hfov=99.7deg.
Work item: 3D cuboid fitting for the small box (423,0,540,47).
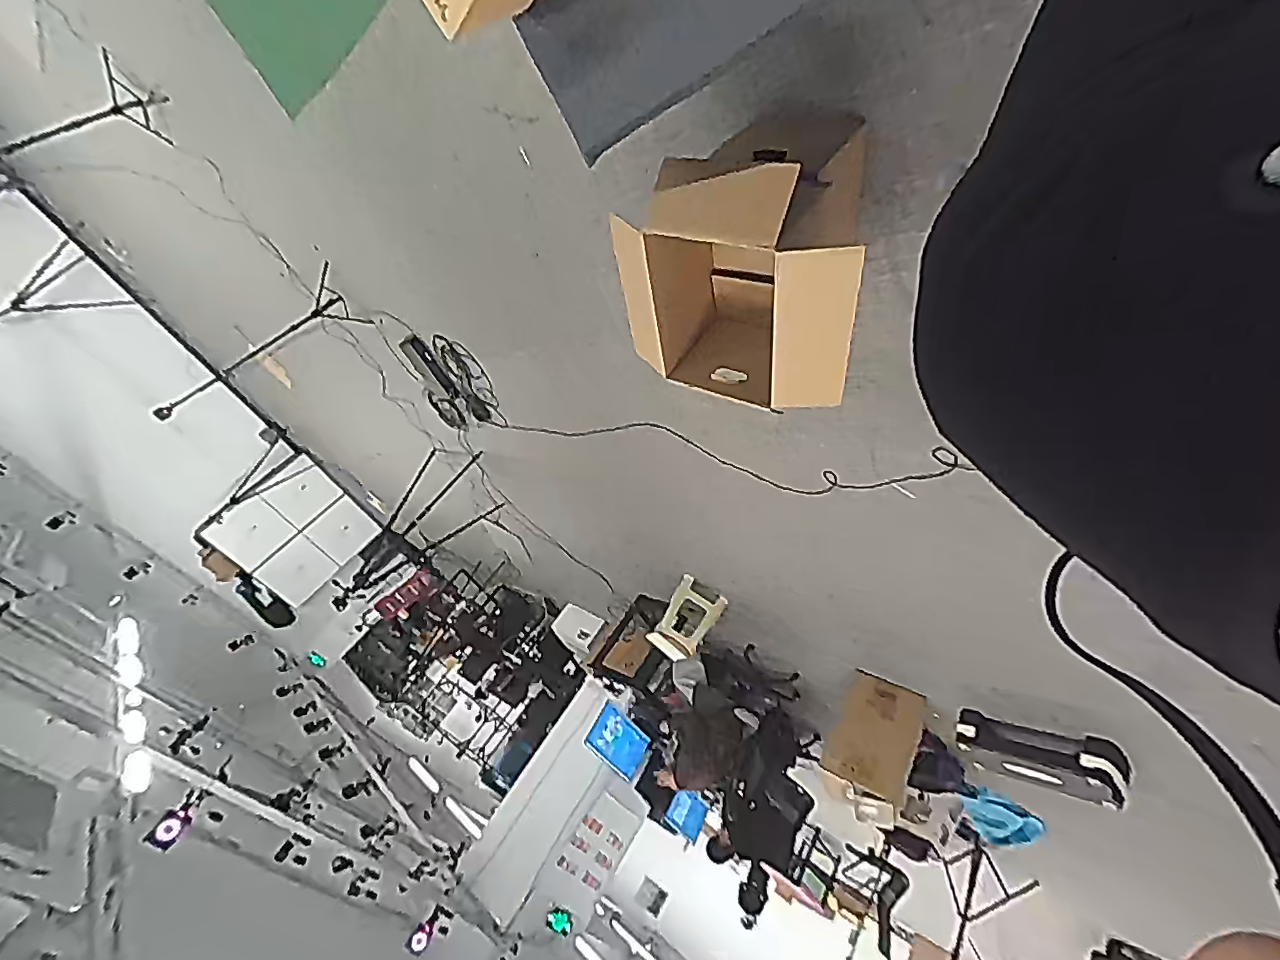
[{"bbox_3d":[-0.204,-0.720,0.695,0.179,0.176,0.168,-3,131,49],"label":"small box"}]
